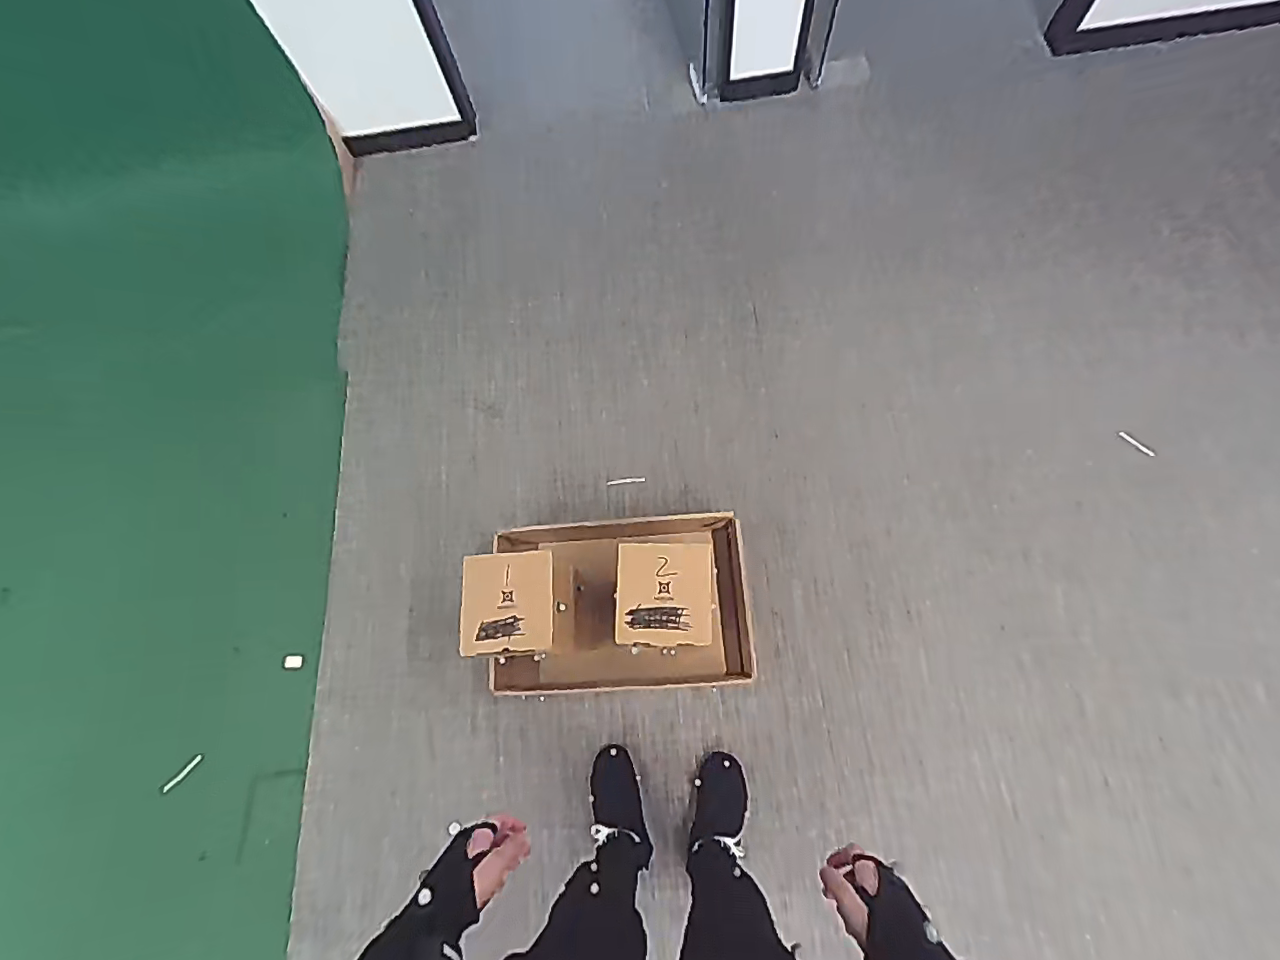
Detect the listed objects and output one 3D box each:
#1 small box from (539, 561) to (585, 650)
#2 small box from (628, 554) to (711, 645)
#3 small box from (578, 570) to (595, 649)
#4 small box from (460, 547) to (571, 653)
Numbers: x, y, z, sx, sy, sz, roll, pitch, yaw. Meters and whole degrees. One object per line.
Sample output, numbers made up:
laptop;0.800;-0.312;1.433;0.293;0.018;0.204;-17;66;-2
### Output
small box;-0.215;0.277;1.177;0.168;0.176;0.179;-2;72;3
small box;0.061;0.262;1.162;0.168;0.176;0.179;-3;73;4
small box;-0.204;0.324;1.332;0.168;0.176;0.179;-2;71;4
small box;-0.226;0.230;1.020;0.168;0.176;0.179;-4;71;3
